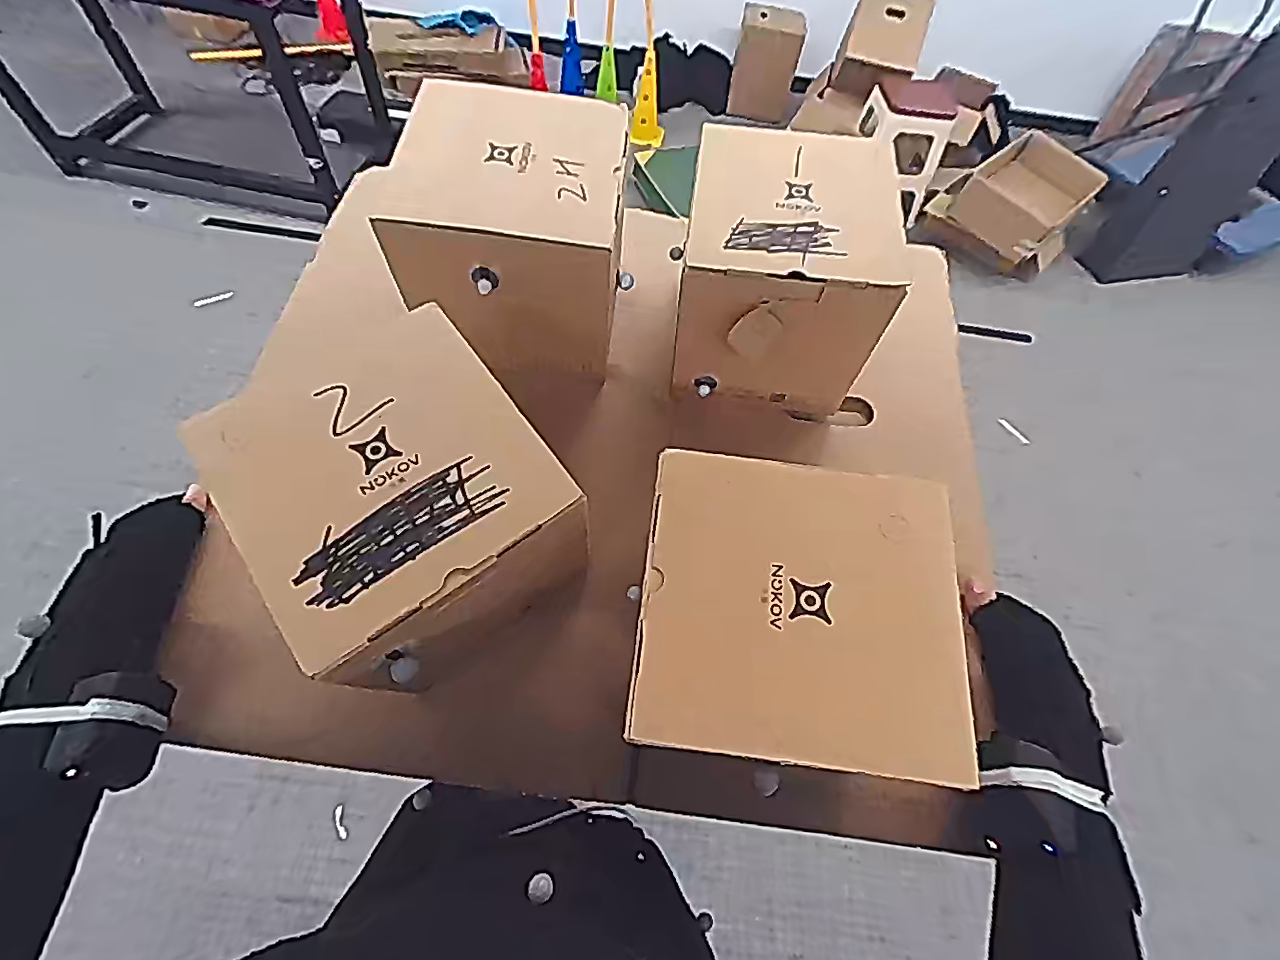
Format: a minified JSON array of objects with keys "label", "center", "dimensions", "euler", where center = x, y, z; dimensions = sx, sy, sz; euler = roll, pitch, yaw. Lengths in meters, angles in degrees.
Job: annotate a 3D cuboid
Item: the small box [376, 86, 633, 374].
[{"label":"small box","center":[-0.106,-0.217,0.500],"dimensions":[0.179,0.176,0.168],"euler":[7,66,-3]}]
